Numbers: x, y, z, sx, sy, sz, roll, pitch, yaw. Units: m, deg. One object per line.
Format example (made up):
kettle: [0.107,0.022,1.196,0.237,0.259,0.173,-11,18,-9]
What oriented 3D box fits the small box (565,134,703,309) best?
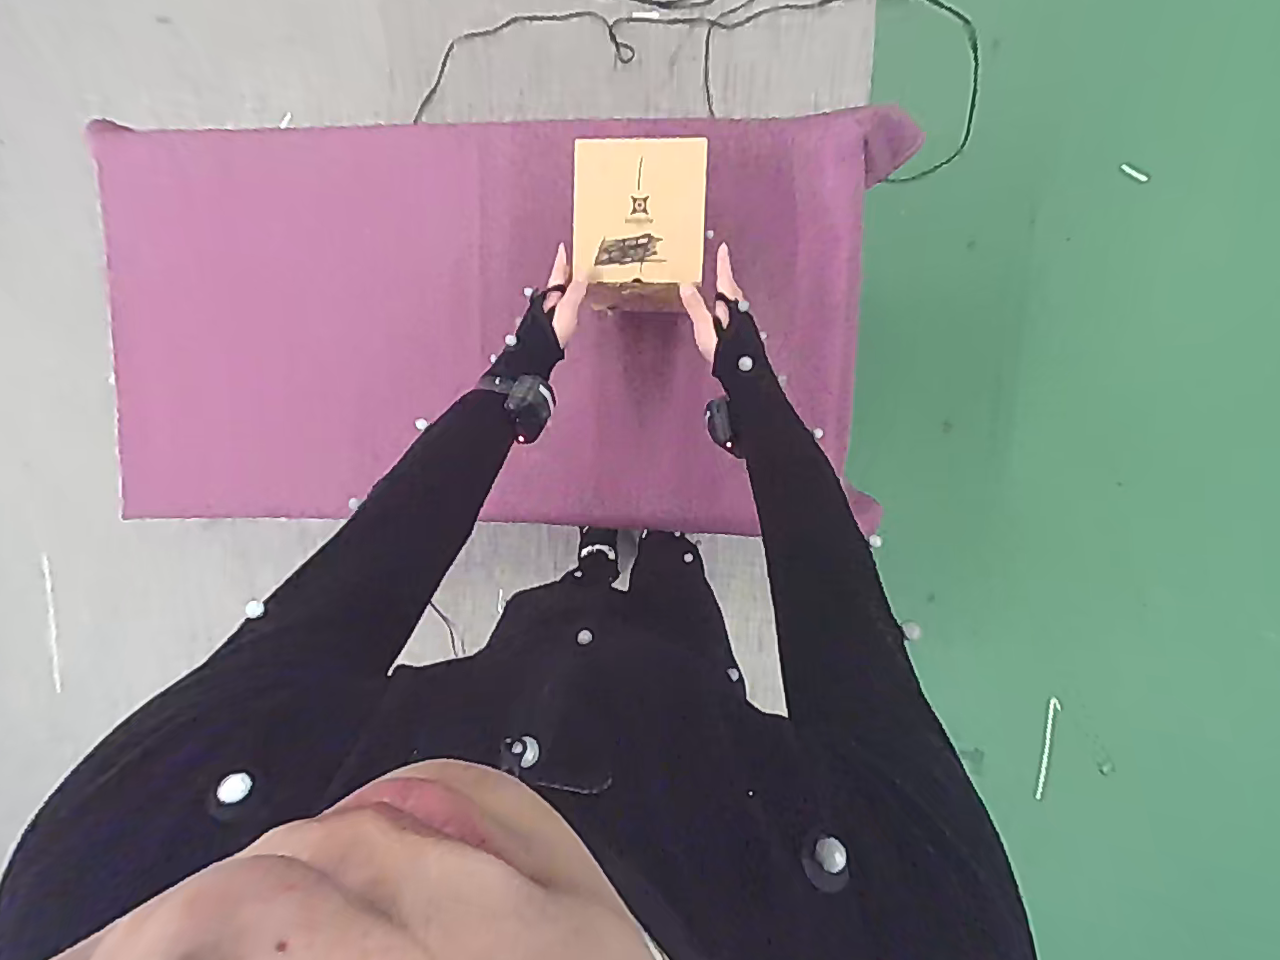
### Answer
small box: [-0.002,-0.337,0.737,0.168,0.176,0.179,2,95,4]
